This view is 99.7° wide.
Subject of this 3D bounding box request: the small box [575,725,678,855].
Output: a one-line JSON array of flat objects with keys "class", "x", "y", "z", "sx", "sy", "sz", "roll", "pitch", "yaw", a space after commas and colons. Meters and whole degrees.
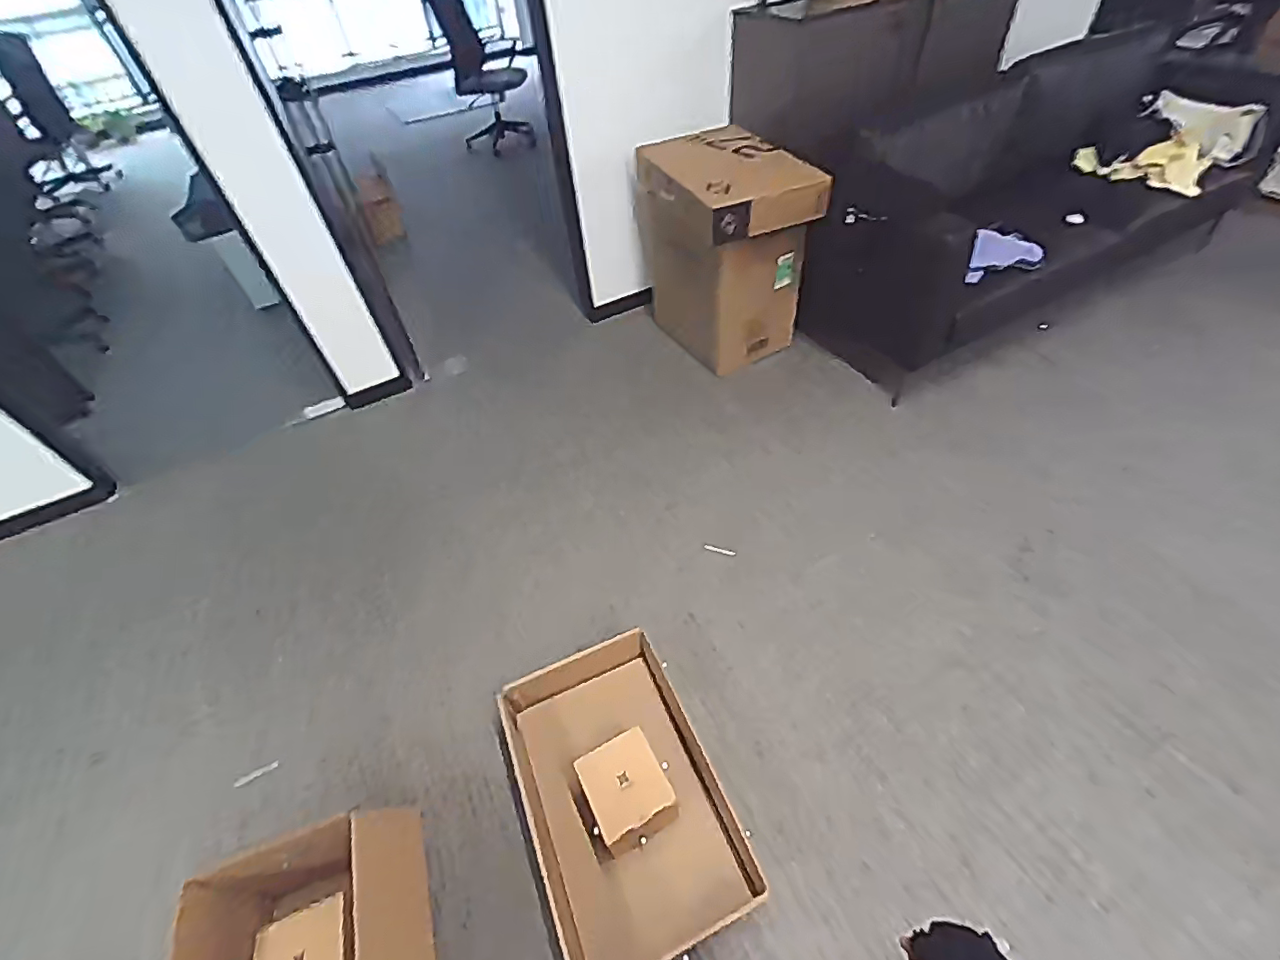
[{"class": "small box", "x": -0.029, "y": 0.689, "z": 1.200, "sx": 0.168, "sy": 0.176, "sz": 0.179, "roll": -24, "pitch": 50, "yaw": -16}]
